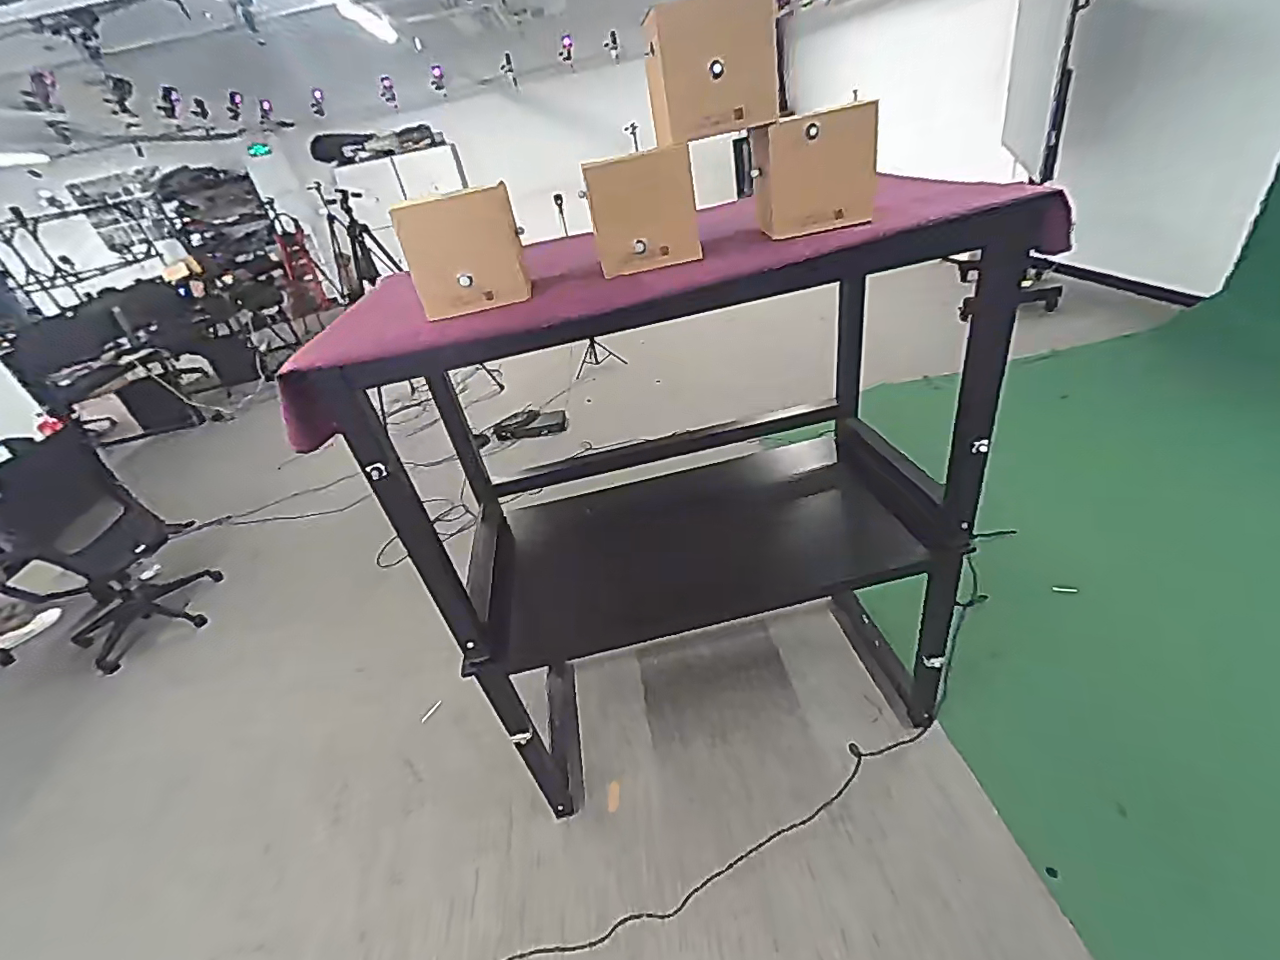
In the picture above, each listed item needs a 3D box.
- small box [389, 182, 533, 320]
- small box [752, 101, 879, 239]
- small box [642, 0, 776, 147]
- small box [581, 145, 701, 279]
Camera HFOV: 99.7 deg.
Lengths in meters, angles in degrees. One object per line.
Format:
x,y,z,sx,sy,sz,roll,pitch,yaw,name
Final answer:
-0.280,-0.377,0.889,0.168,0.176,0.179,-14,33,-2,small box
0.288,-0.517,0.914,0.168,0.176,0.179,-10,31,7,small box
0.104,-0.622,0.831,0.168,0.176,0.179,-12,32,1,small box
0.000,-0.452,0.914,0.168,0.176,0.179,-12,33,1,small box
